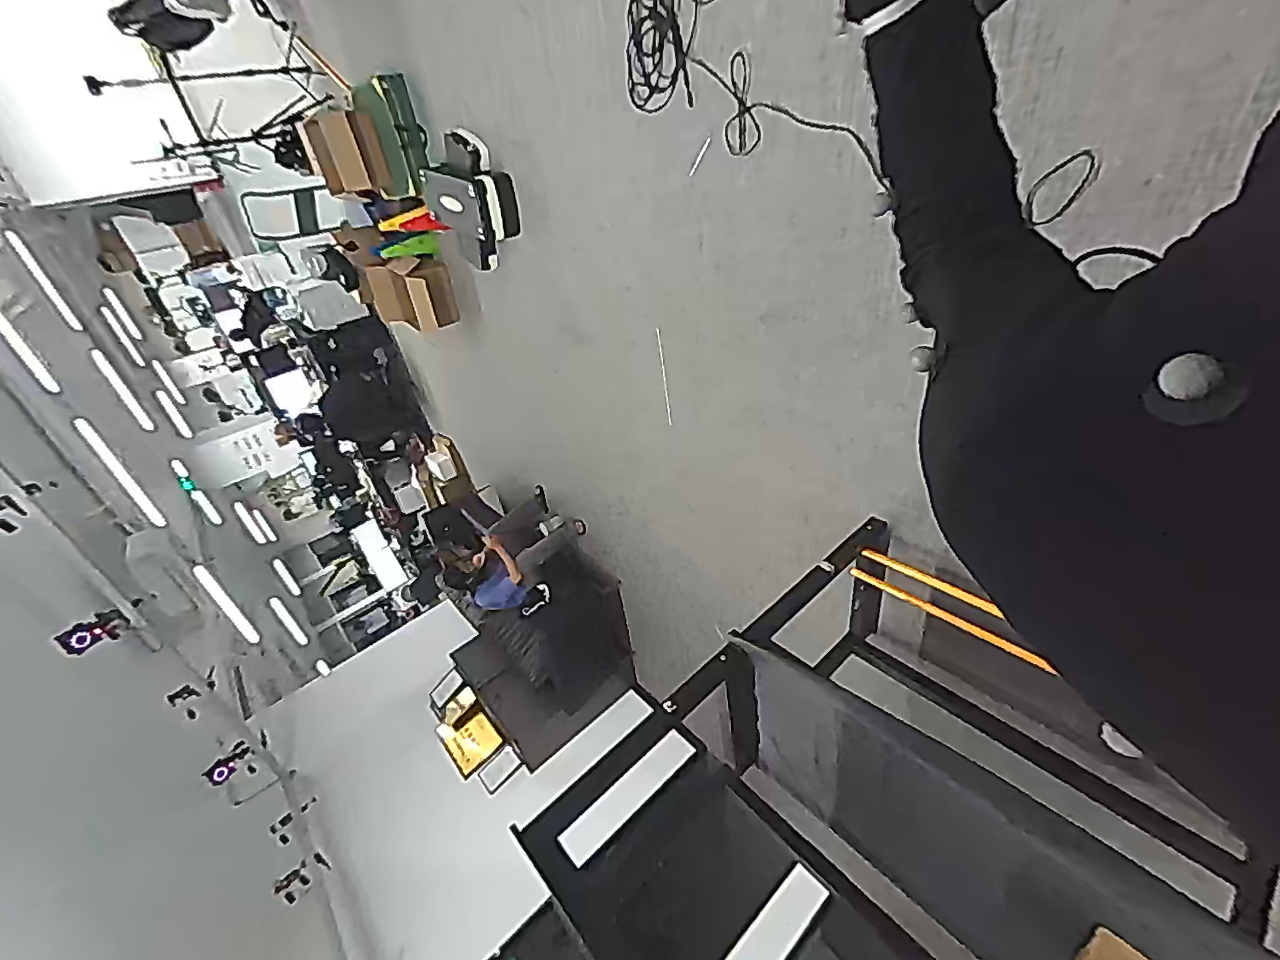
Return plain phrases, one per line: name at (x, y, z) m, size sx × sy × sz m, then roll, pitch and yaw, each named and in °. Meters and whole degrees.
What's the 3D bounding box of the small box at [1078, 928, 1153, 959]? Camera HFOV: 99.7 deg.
small box at (0.857, 0.942, 0.941) m, size 0.168 × 0.176 × 0.179 m, roll 27°, pitch 138°, yaw 45°
